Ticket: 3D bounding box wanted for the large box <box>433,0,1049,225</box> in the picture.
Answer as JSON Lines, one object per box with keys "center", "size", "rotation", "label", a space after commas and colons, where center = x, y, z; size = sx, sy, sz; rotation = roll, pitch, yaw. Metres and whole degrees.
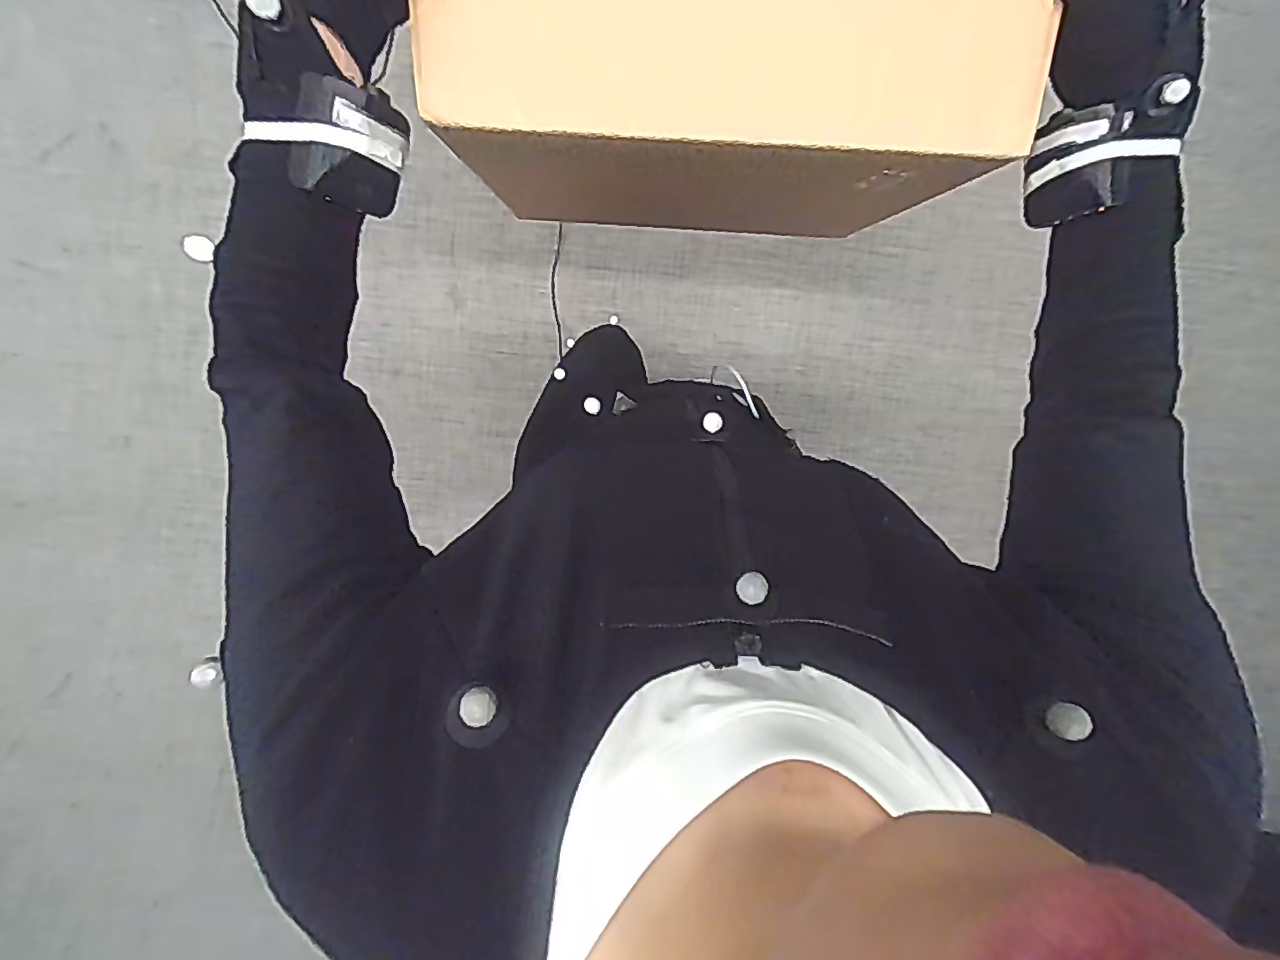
{"center": [0.062, -0.421, 0.467], "size": [0.408, 0.320, 0.320], "rotation": [1, 105, -3], "label": "large box"}
